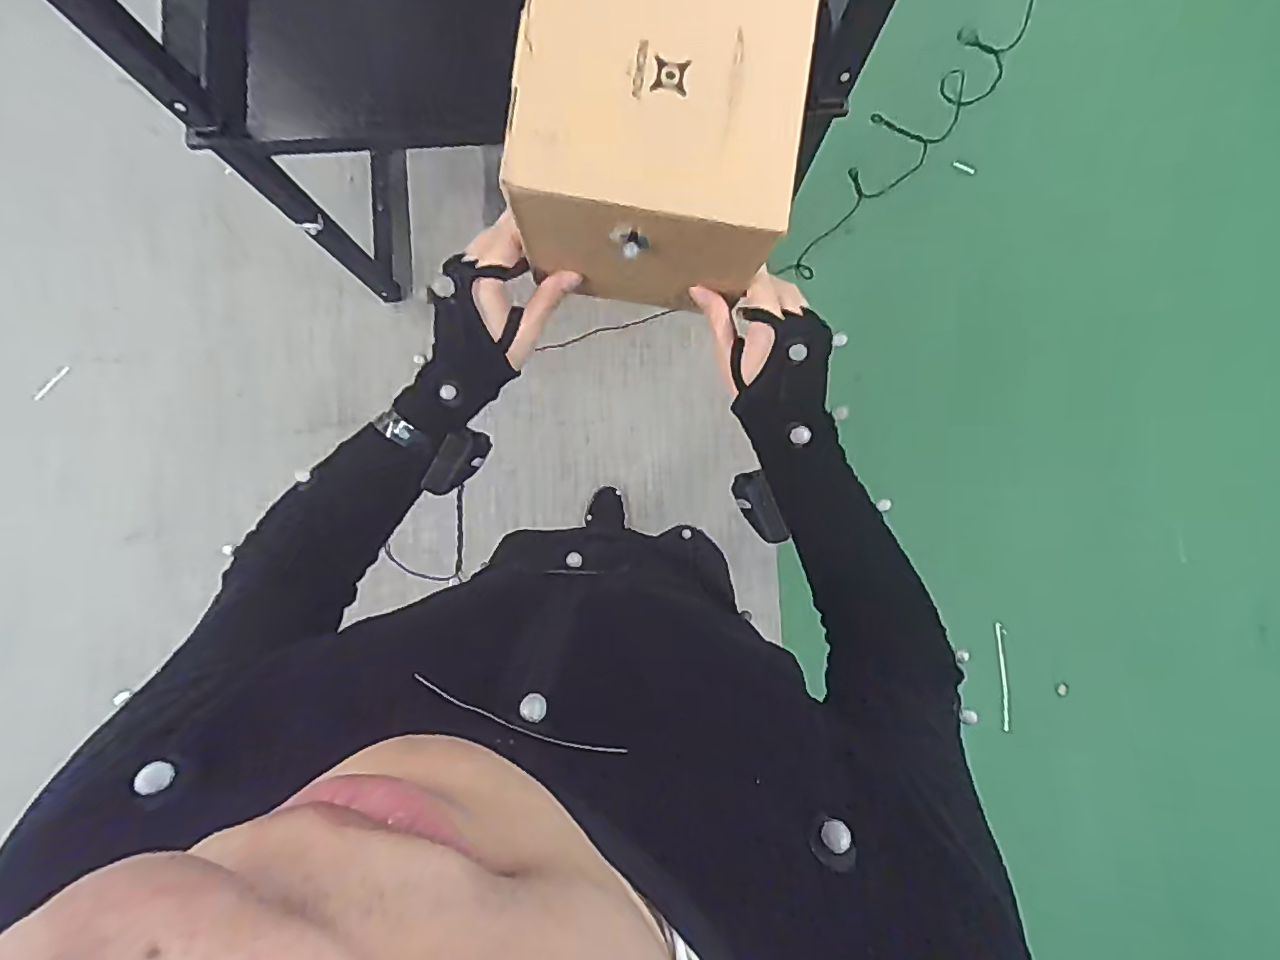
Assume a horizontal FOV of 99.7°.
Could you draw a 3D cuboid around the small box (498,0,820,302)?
[{"bbox_3d":[0.011,-0.246,0.398,0.179,0.176,0.168,9,90,-3],"label":"small box"}]
